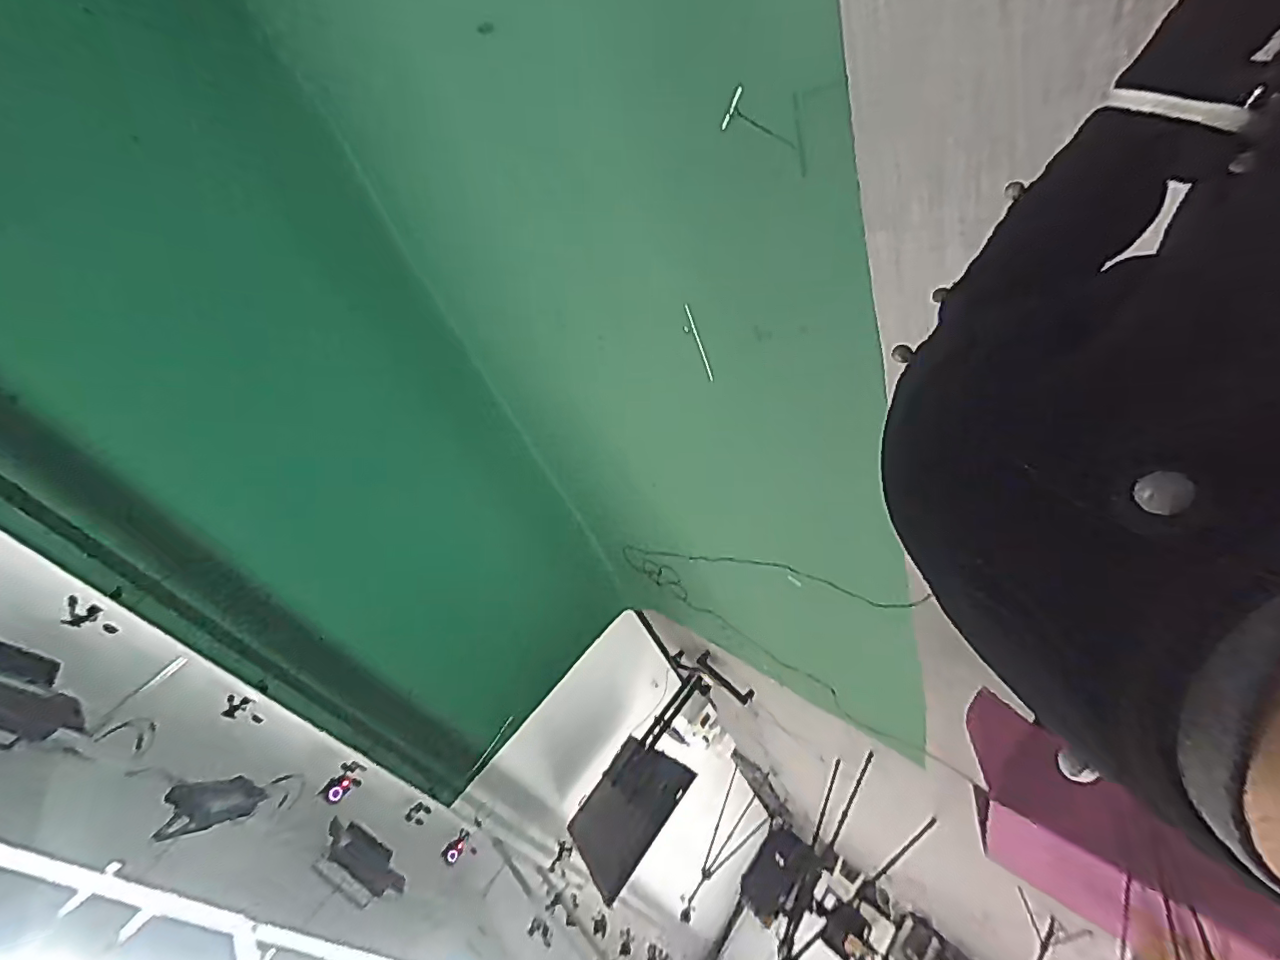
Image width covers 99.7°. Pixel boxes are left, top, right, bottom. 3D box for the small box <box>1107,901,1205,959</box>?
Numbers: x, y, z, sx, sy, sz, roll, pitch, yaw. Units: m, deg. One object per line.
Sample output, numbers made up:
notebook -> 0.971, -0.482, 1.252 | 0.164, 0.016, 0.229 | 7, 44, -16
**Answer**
small box -> 1.424, 1.324, 1.489 | 0.168, 0.176, 0.179 | 8, 138, 53
